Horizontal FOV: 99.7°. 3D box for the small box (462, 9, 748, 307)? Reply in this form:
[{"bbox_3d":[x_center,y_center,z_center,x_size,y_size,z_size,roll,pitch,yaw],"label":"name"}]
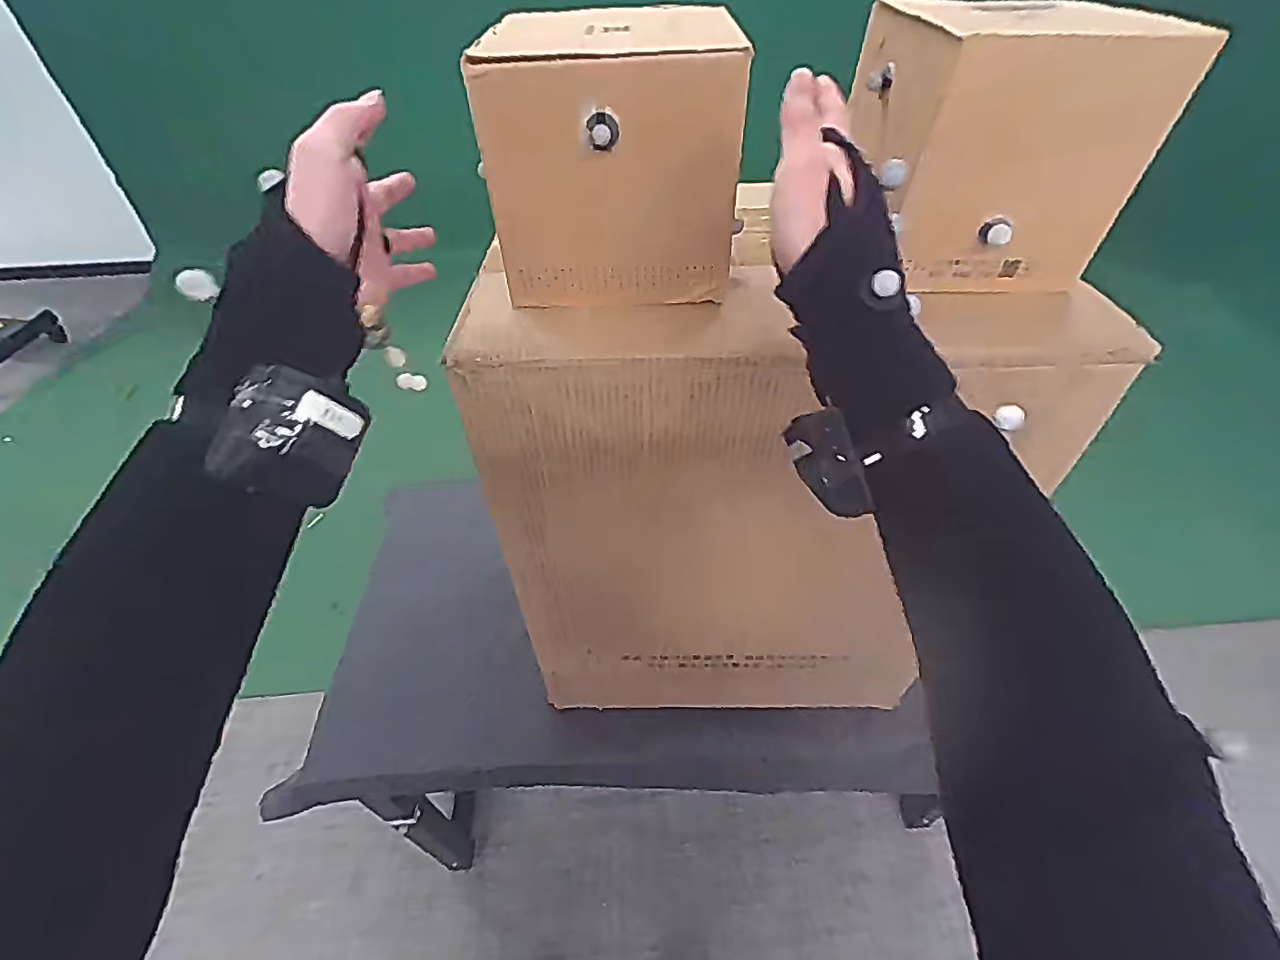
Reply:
[{"bbox_3d":[-0.017,-0.252,0.432,0.179,0.176,0.168,0,48,1],"label":"small box"}]

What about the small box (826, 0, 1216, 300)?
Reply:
[{"bbox_3d":[0.270,-0.269,0.444,0.168,0.176,0.179,0,48,-1],"label":"small box"}]
